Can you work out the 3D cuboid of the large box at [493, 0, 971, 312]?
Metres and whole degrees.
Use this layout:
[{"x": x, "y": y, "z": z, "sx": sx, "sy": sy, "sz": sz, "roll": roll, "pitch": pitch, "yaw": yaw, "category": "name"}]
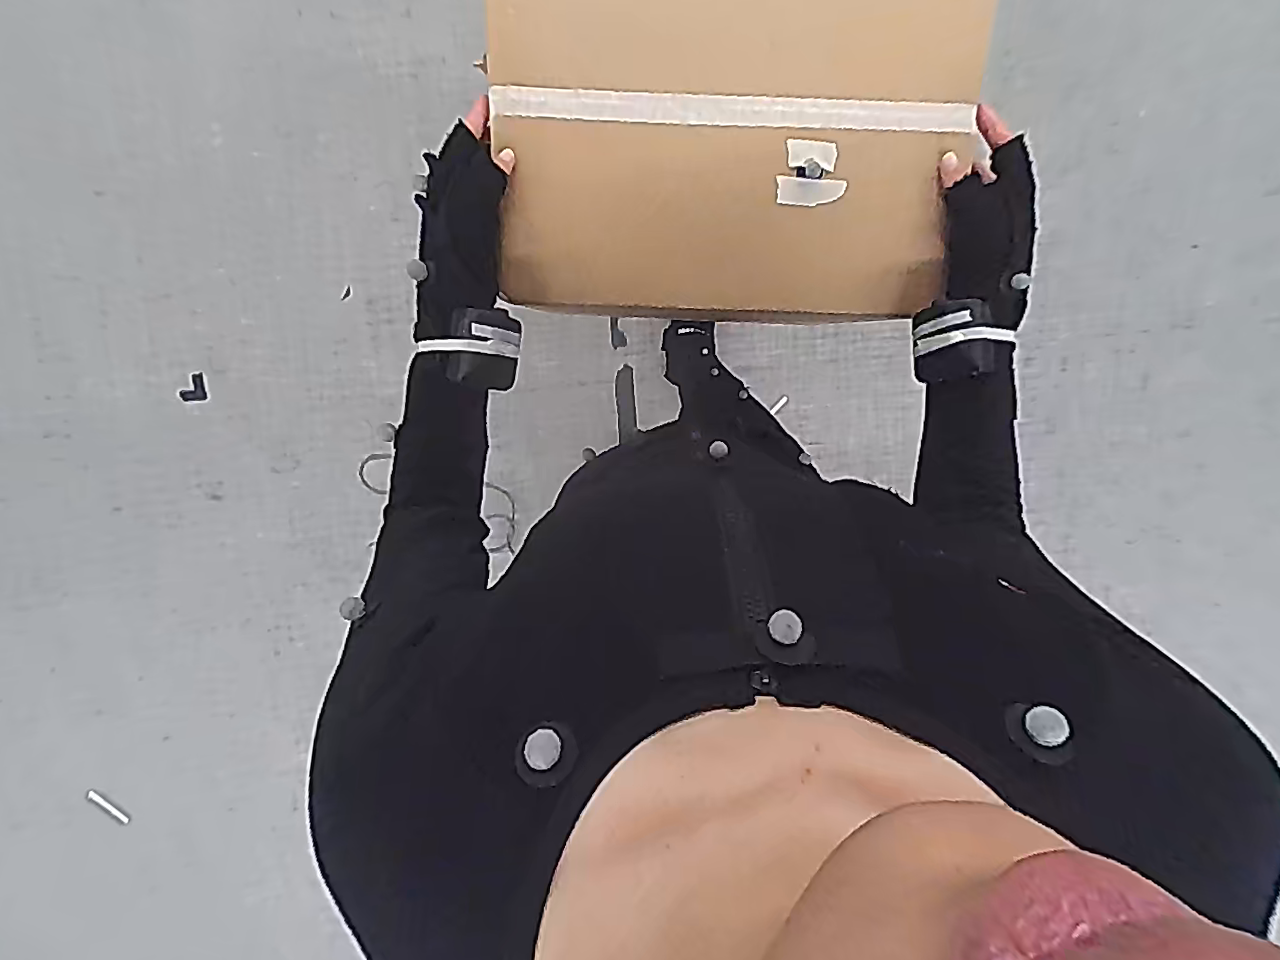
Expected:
[{"x": 0.071, "y": -0.360, "z": 0.609, "sx": 0.408, "sy": 0.320, "sz": 0.320, "roll": 1, "pitch": 105, "yaw": -2, "category": "large box"}]
